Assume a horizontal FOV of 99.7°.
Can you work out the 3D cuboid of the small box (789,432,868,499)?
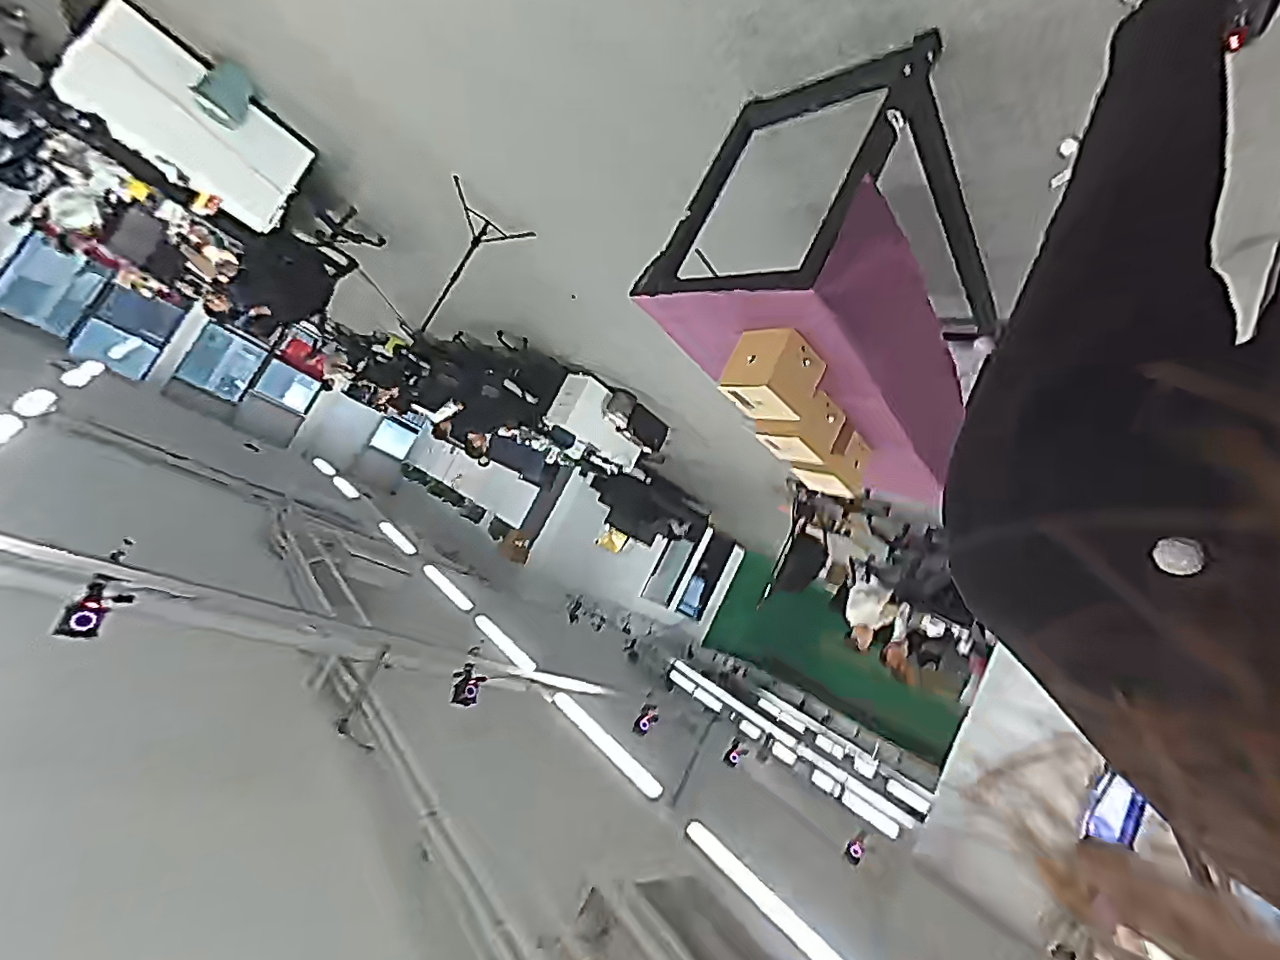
[{"bbox_3d":[0.632,-0.059,1.790,0.168,0.176,0.179,35,170,-40],"label":"small box"}]

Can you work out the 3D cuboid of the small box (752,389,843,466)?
[{"bbox_3d":[0.479,-0.164,1.635,0.168,0.176,0.179,33,169,-37],"label":"small box"}]
